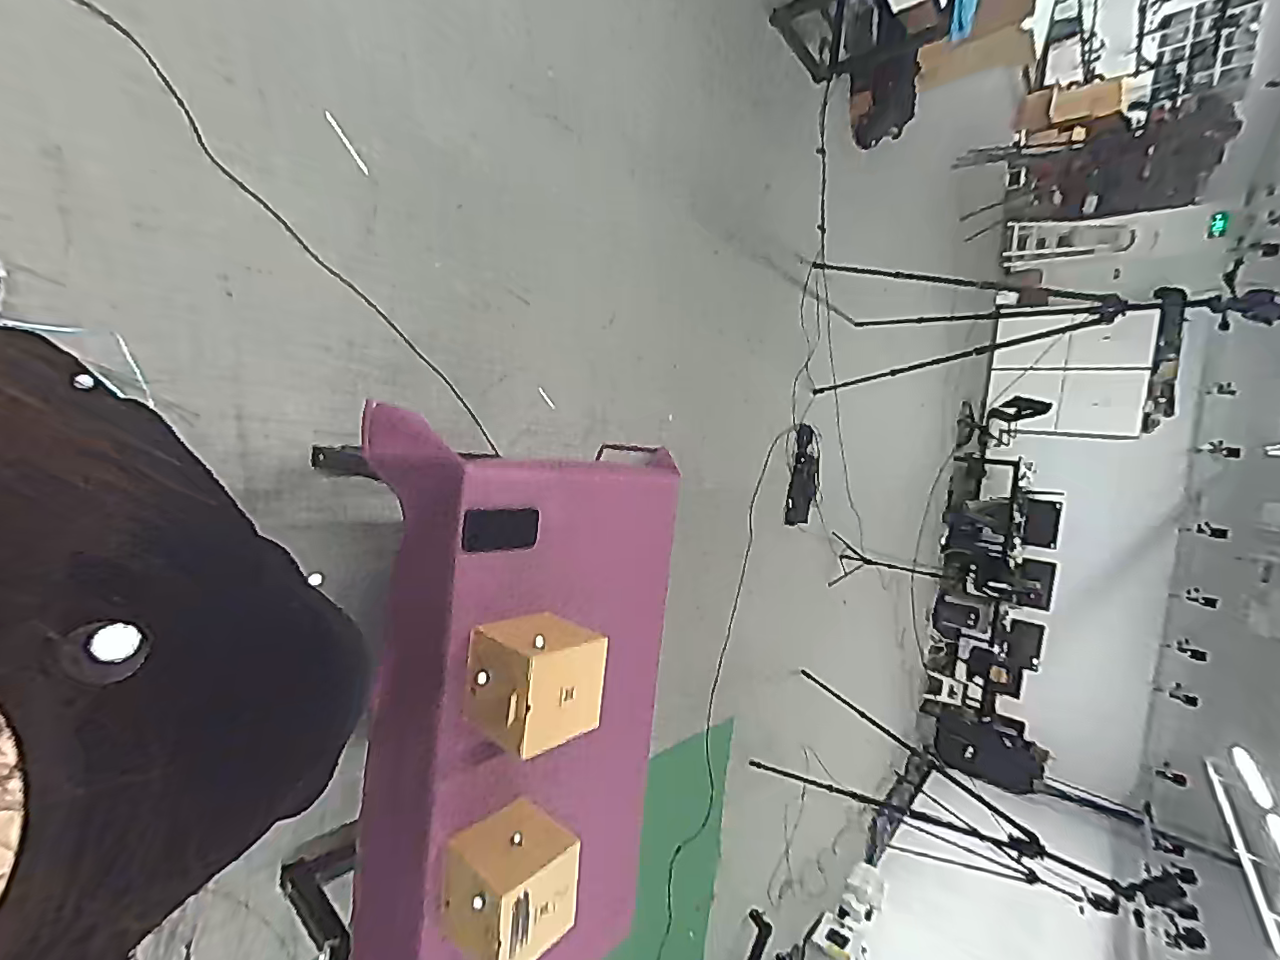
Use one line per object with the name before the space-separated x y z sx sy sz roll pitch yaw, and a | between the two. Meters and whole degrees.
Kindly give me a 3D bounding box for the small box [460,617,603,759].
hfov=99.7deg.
small box | -0.193 0.355 0.965 0.179 0.176 0.168 3 95 -50
